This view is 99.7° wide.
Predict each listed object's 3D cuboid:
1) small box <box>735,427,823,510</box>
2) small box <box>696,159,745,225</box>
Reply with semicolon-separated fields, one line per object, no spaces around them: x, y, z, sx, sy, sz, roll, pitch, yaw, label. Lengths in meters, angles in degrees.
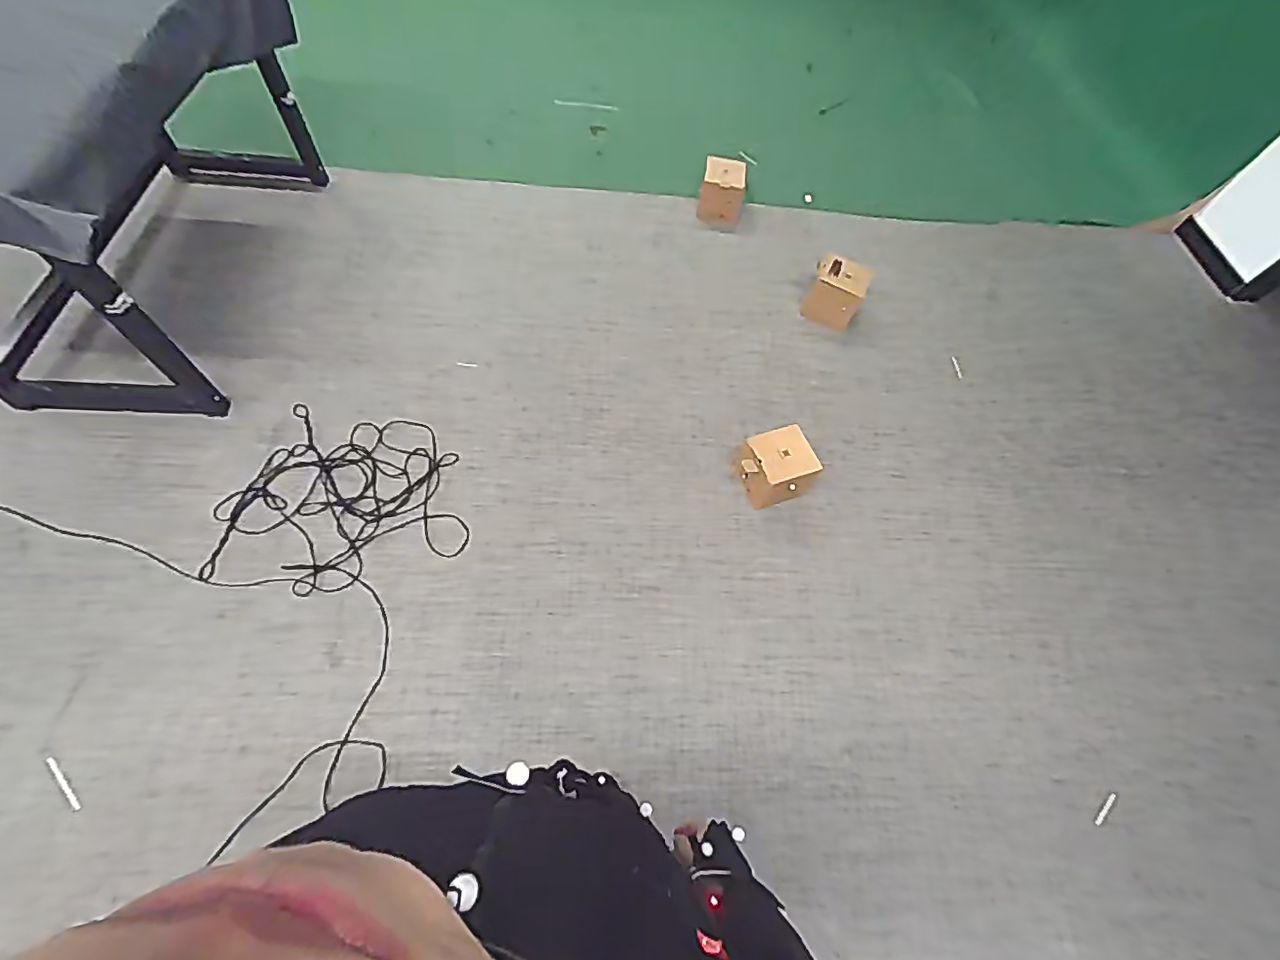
0.413;-0.033;1.636;0.179;0.176;0.168;-16;64;-14;small box
0.335;-1.207;2.271;0.168;0.176;0.179;10;60;-3;small box
